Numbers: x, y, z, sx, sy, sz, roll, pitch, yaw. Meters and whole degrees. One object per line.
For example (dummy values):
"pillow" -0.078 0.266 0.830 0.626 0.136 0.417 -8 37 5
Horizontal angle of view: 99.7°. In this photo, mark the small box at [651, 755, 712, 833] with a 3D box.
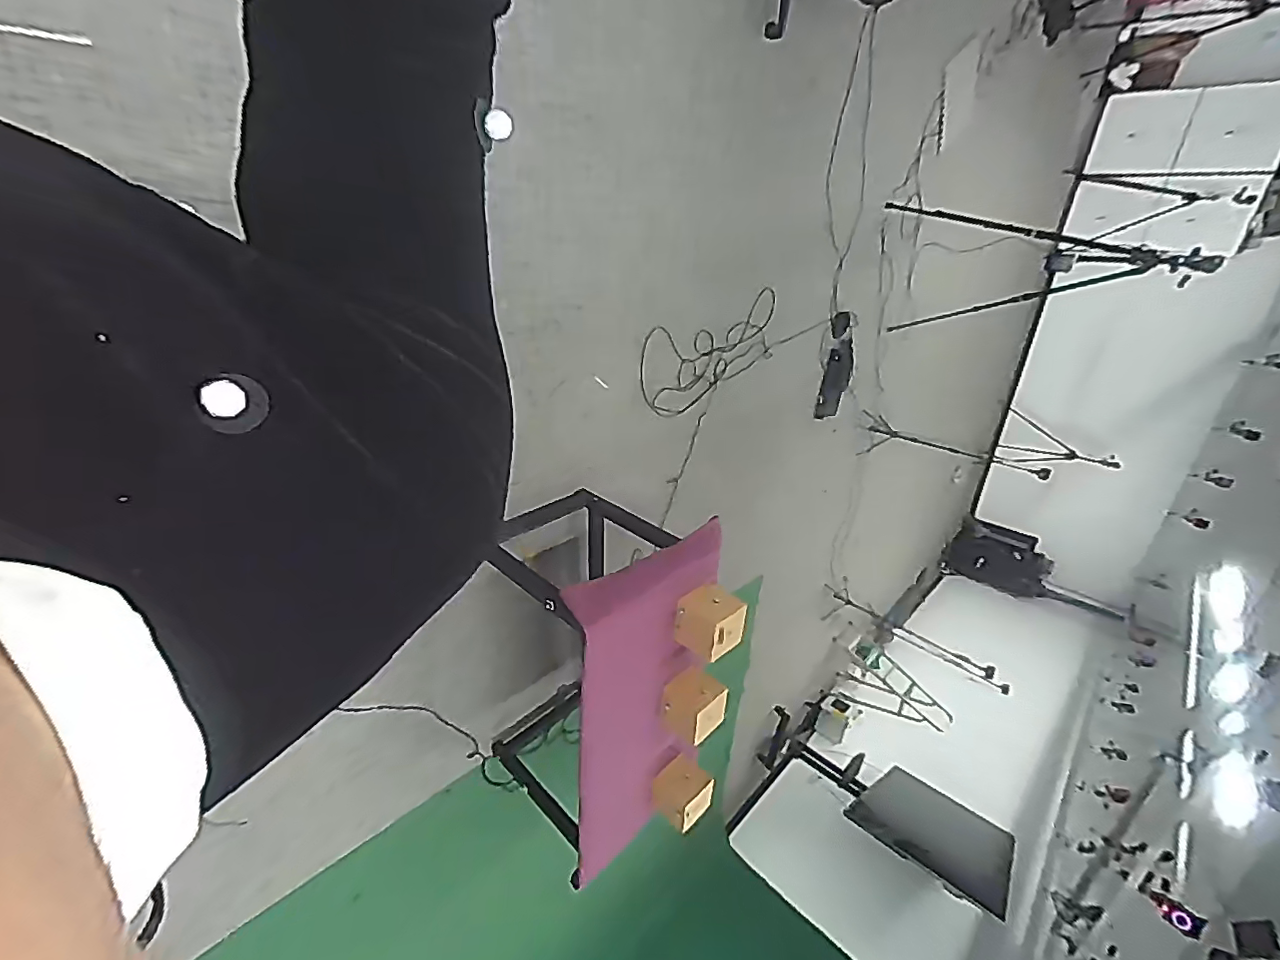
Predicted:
"small box" 0.167 1.261 2.185 0.179 0.176 0.168 -23 124 -41

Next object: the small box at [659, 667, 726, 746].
"small box" 0.193 0.828 1.997 0.179 0.176 0.168 -20 123 -41

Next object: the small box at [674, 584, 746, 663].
"small box" 0.236 0.487 1.864 0.179 0.176 0.168 -18 123 -42
